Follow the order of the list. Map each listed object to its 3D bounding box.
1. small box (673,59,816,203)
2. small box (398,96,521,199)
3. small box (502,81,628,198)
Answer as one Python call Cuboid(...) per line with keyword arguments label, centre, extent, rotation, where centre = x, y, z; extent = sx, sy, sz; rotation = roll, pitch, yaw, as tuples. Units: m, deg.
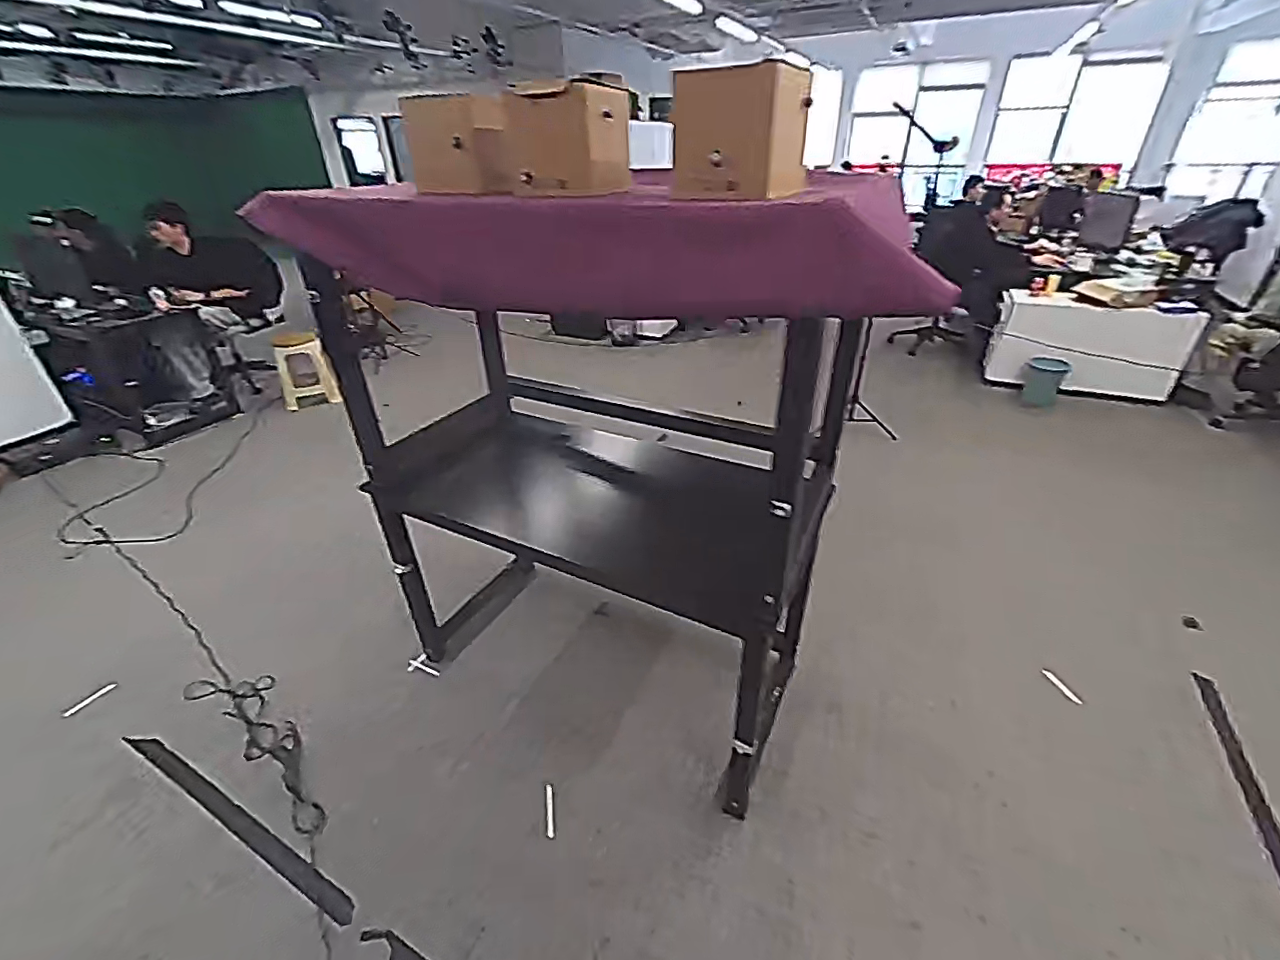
Cuboid(label="small box", centre=(0.160, -0.536, 0.844), extent=(0.168, 0.176, 0.179), rotation=(16, 35, 28))
Cuboid(label="small box", centre=(-0.358, -0.685, 1.120), extent=(0.179, 0.176, 0.168), rotation=(12, 33, 22))
Cuboid(label="small box", centre=(-0.126, -0.616, 0.994), extent=(0.168, 0.176, 0.179), rotation=(11, 33, 20))
